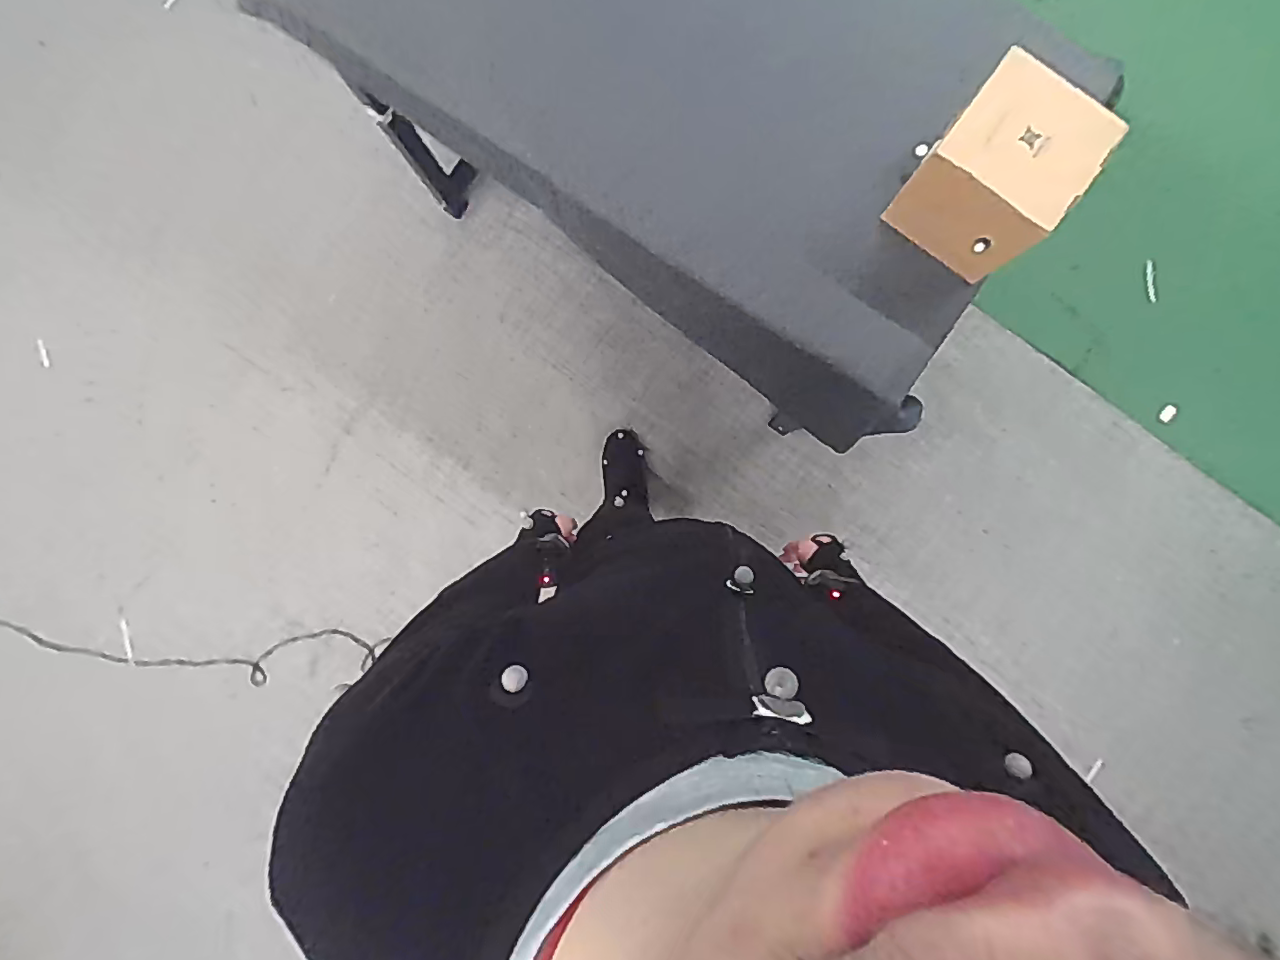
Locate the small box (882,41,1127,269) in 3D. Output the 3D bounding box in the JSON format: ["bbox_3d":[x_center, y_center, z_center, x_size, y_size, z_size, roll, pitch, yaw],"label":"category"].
[{"bbox_3d":[0.472,-0.416,0.731,0.179,0.176,0.168,36,90,2],"label":"small box"}]
